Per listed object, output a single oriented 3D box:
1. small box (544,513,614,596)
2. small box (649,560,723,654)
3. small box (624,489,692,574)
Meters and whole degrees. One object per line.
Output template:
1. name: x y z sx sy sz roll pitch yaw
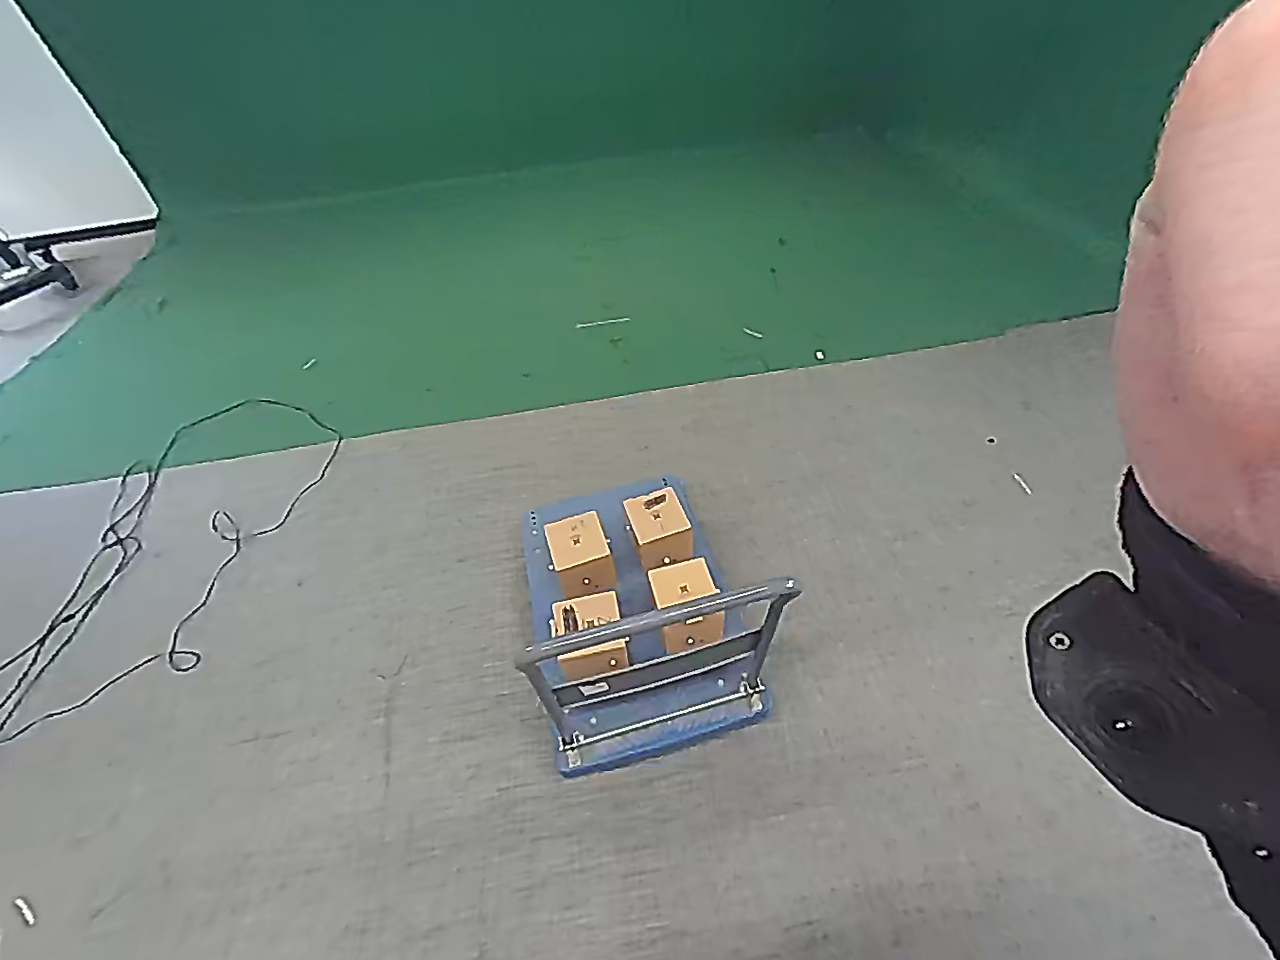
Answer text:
1. small box: -0.183 0.234 1.646 0.168 0.176 0.179 -16 49 -10
2. small box: 0.124 0.356 1.511 0.168 0.176 0.179 -13 49 -6
3. small box: 0.055 0.162 1.686 0.168 0.176 0.179 -17 50 -8
